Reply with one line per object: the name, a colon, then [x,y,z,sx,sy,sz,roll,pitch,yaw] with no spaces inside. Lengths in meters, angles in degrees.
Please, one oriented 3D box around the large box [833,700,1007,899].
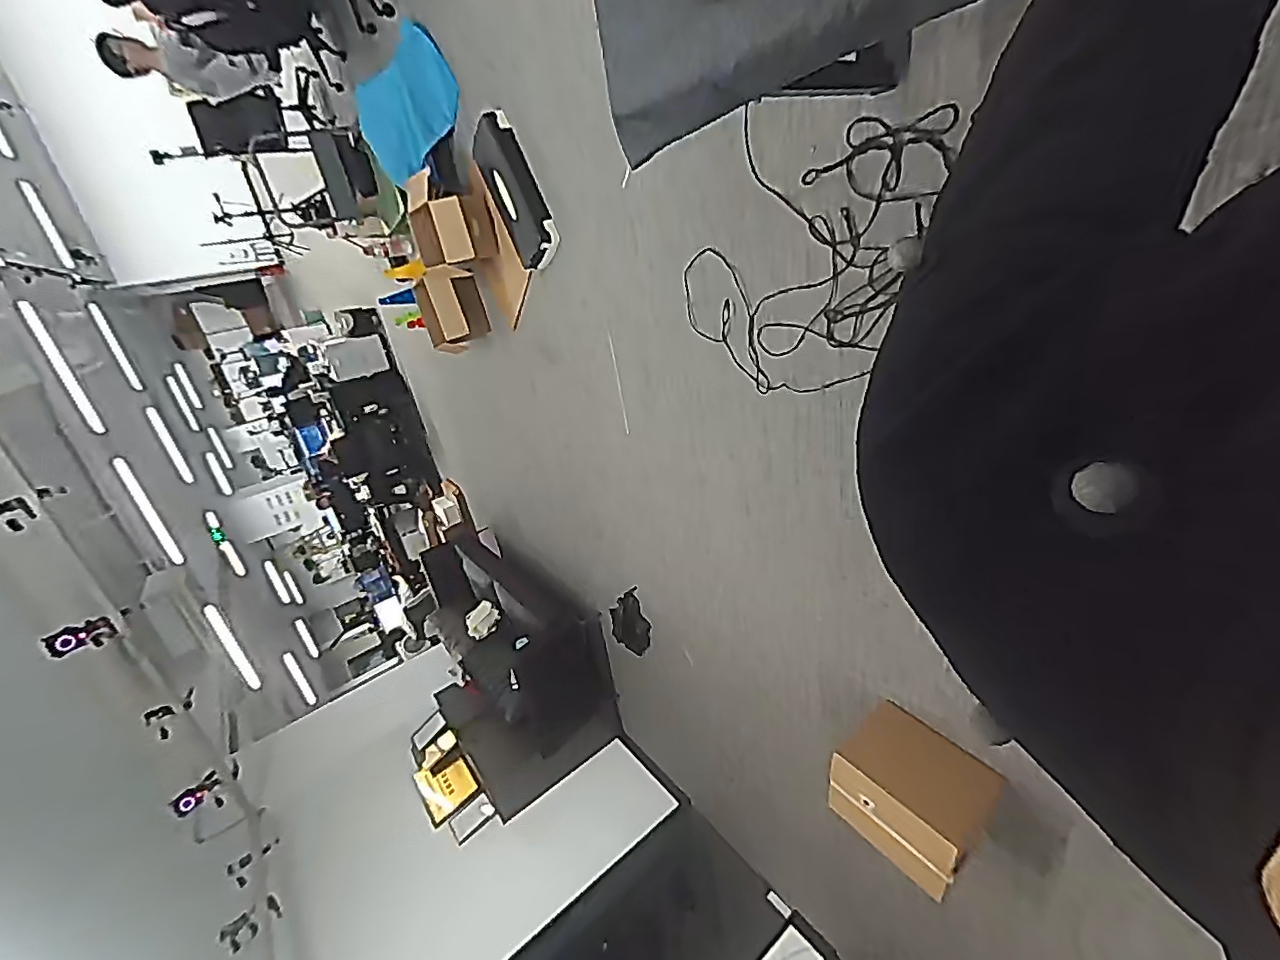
large box: [0.908,1.030,1.788,0.408,0.320,0.320,29,134,47]
